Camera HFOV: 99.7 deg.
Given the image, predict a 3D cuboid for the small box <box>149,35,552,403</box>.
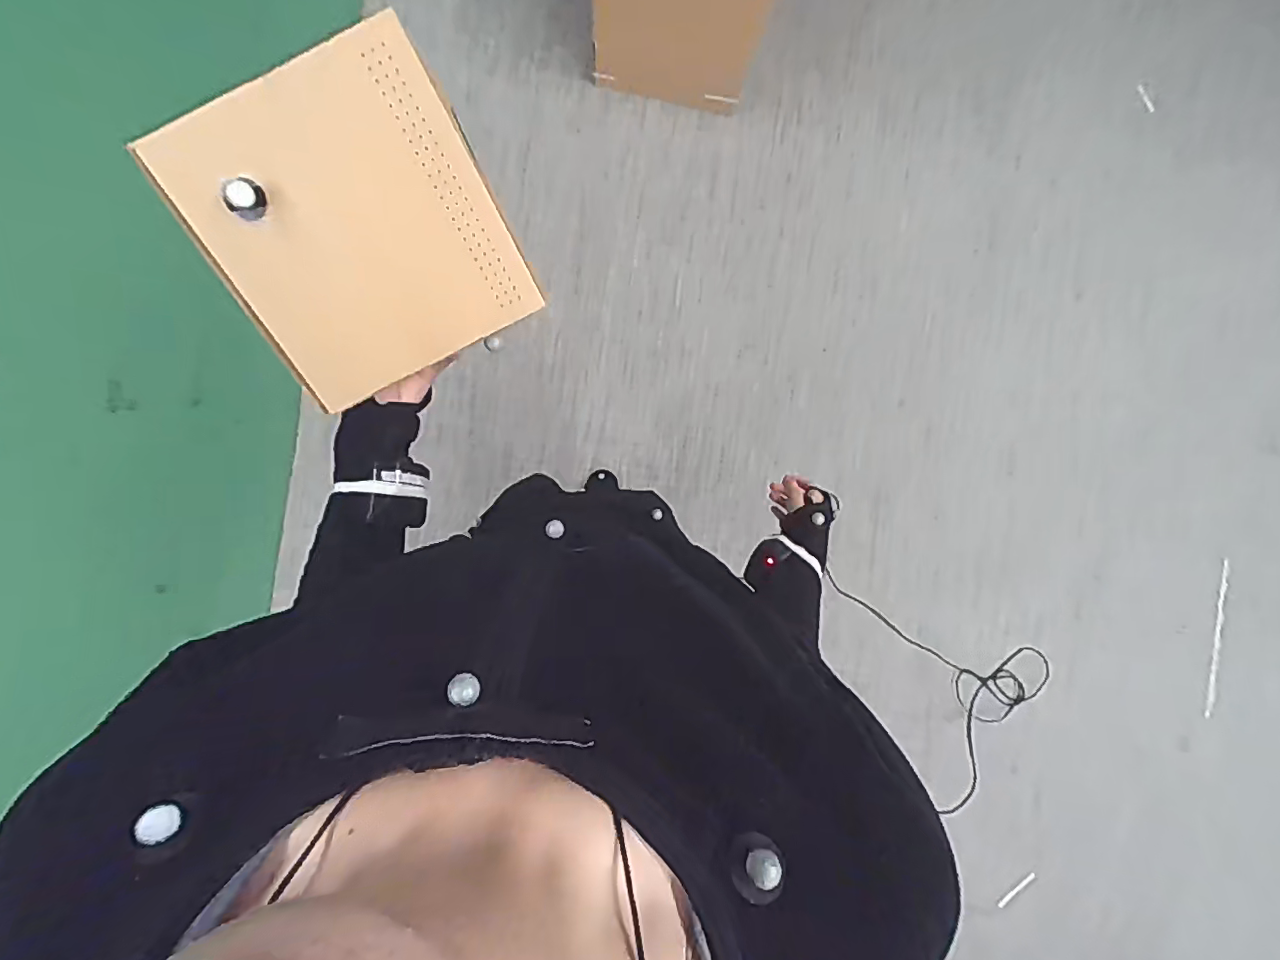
[{"bbox_3d":[-0.181,-0.187,0.406,0.176,0.168,0.179,-26,113,2],"label":"small box"}]
